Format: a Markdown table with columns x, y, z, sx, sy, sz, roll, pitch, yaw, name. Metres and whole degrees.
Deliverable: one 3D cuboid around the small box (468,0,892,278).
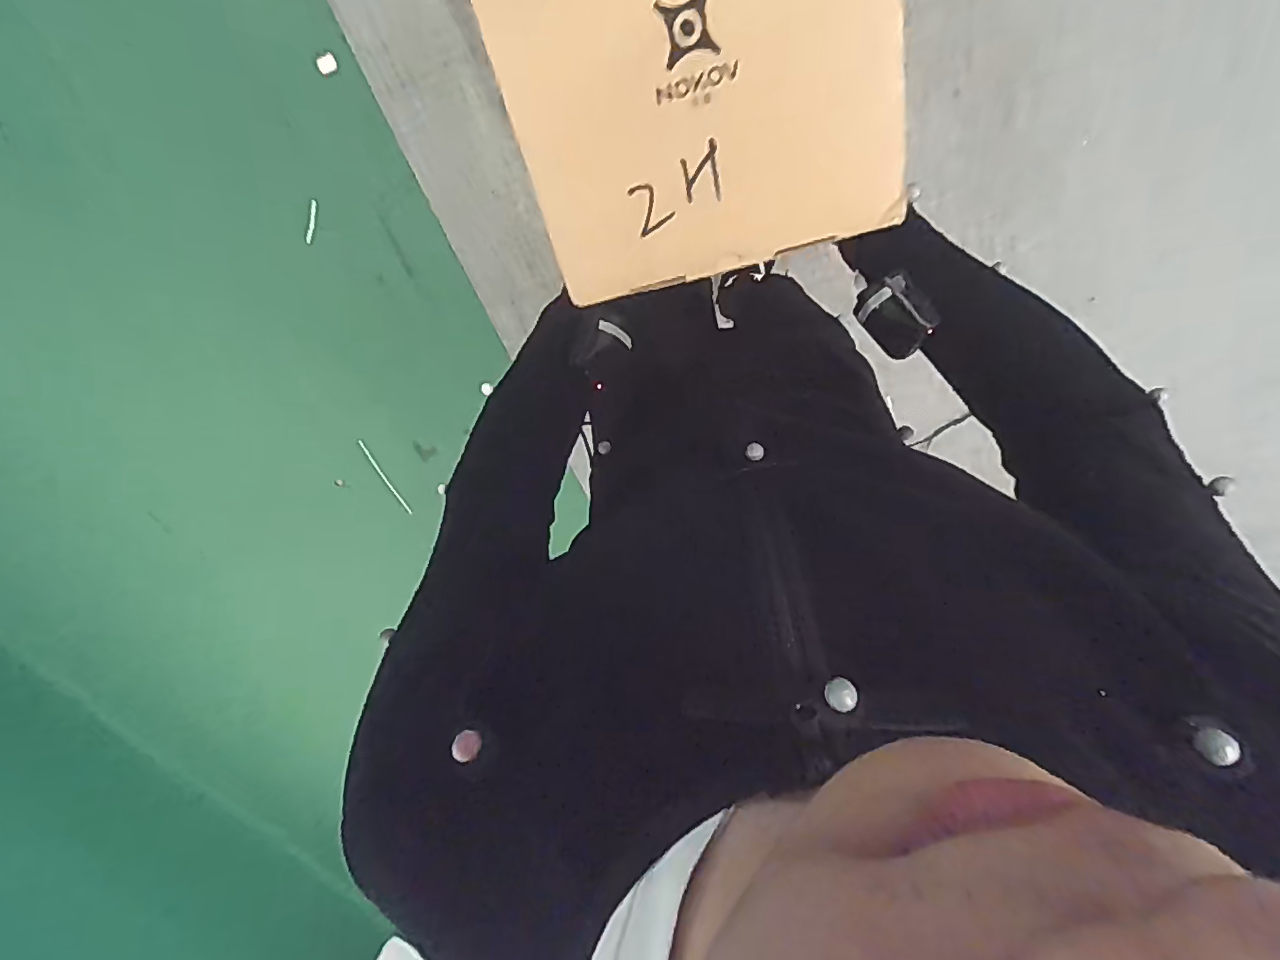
| x | y | z | sx | sy | sz | roll | pitch | yaw | name |
| --- | --- | --- | --- | --- | --- | --- | --- | --- | --- |
| 0.023 | -0.229 | 0.288 | 0.168 | 0.176 | 0.179 | -10 | 120 | 14 | small box |
